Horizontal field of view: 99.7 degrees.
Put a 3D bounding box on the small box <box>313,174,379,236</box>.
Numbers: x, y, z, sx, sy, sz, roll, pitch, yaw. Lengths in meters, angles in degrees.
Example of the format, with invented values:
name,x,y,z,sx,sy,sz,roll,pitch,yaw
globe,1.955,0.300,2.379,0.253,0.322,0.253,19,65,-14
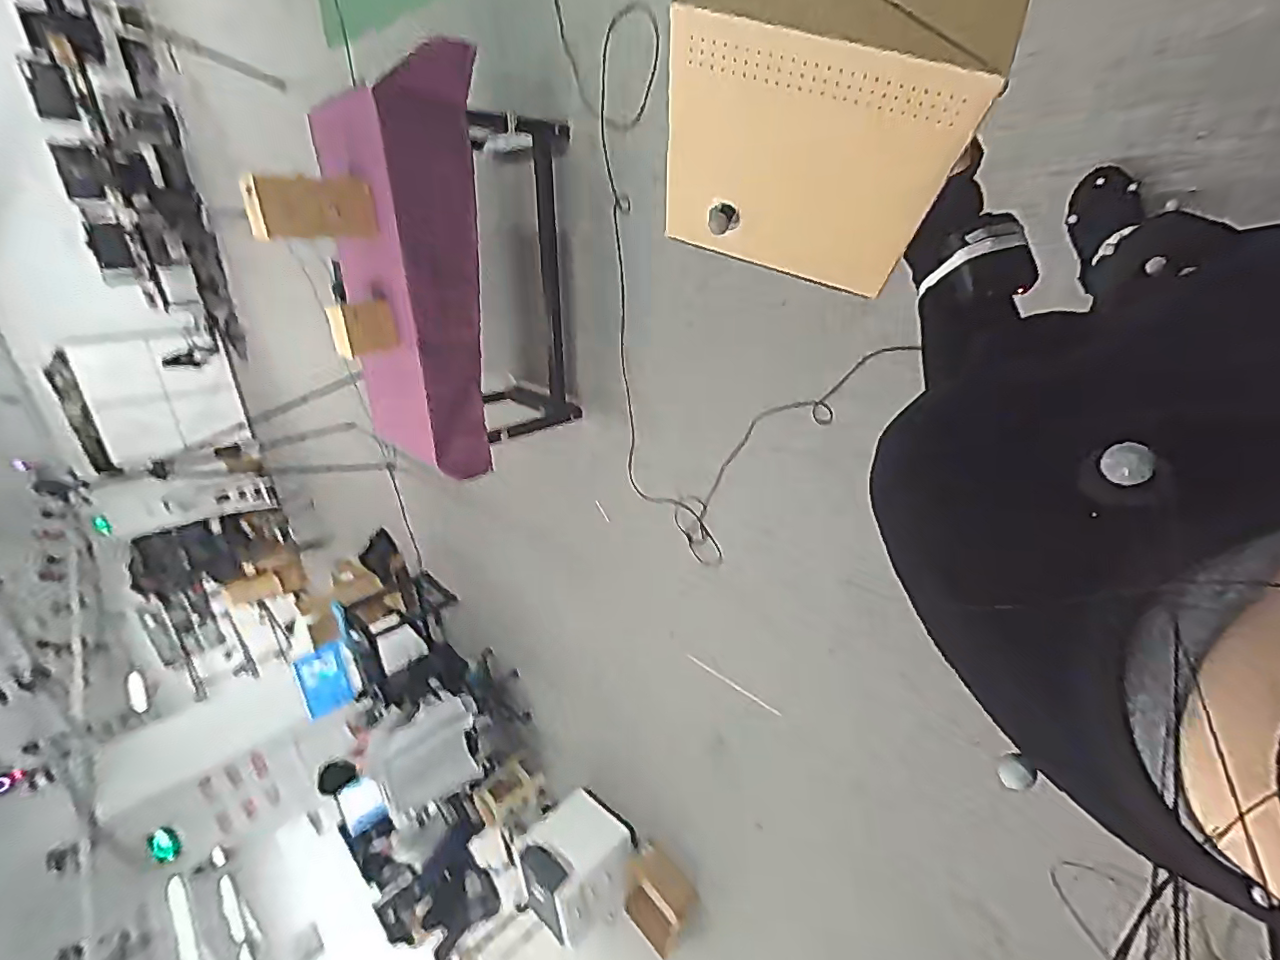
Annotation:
name,x,y,z,sx,sy,sz,roll,pitch,yaw
small box,-0.986,-0.909,1.793,0.168,0.176,0.179,24,123,39

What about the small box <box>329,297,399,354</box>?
name,x,y,z,sx,sy,sz,roll,pitch,yaw
small box,-0.997,-0.566,1.965,0.168,0.176,0.179,19,120,42

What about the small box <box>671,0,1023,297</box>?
name,x,y,z,sx,sy,sz,roll,pitch,yaw
small box,0.131,-0.268,0.382,0.179,0.168,0.176,20,162,10

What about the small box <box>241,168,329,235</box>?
name,x,y,z,sx,sy,sz,roll,pitch,yaw
small box,-1.101,-0.864,1.685,0.168,0.176,0.179,24,125,39
